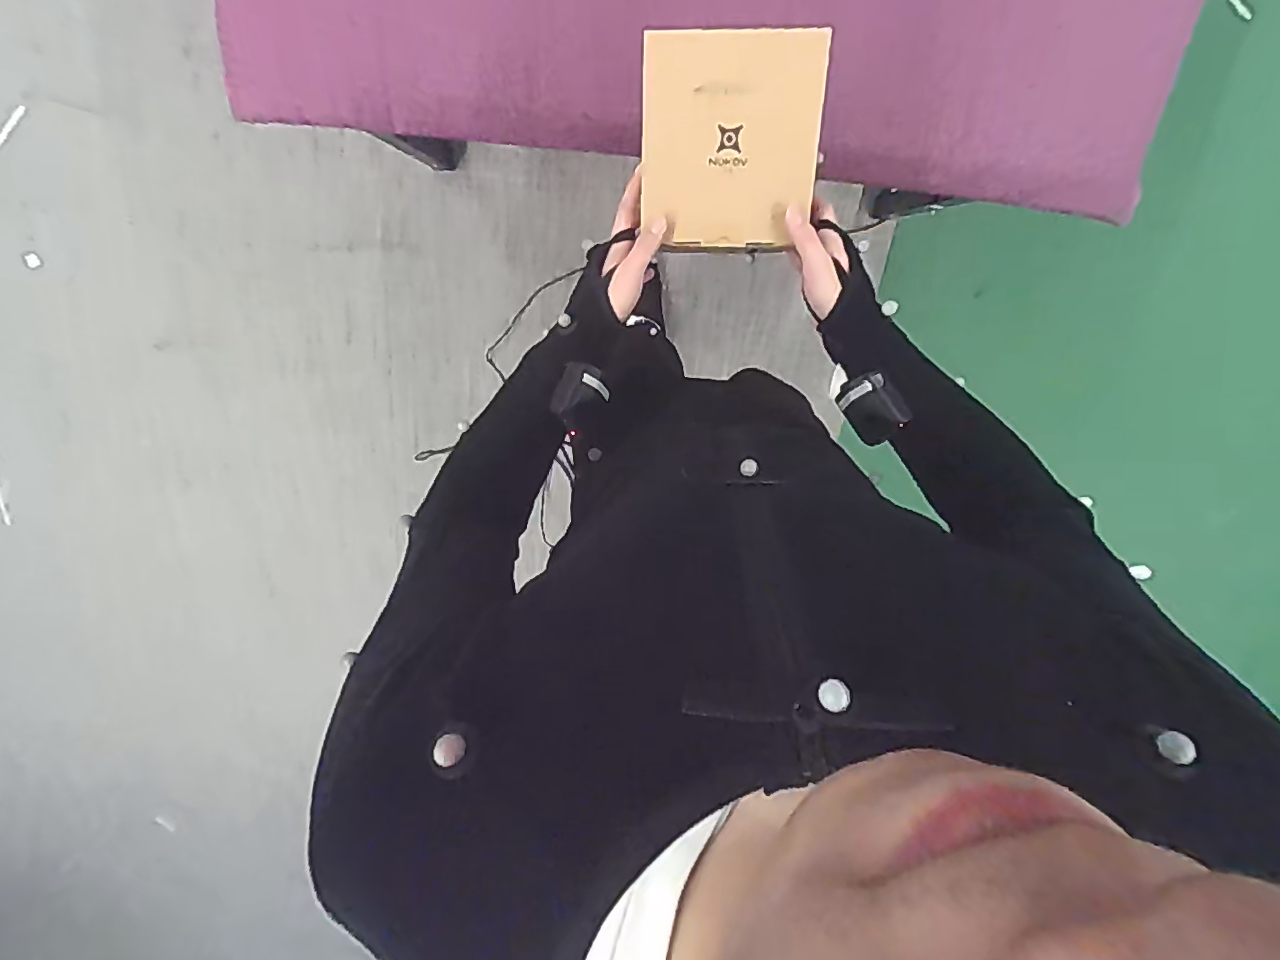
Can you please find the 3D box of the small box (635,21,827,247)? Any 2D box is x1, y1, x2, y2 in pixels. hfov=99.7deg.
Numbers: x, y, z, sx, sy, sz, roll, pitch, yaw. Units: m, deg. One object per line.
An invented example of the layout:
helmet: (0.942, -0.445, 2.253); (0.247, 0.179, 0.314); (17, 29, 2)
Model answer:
small box: (0.086, -0.345, 0.574); (0.168, 0.176, 0.179); (3, 111, 4)
